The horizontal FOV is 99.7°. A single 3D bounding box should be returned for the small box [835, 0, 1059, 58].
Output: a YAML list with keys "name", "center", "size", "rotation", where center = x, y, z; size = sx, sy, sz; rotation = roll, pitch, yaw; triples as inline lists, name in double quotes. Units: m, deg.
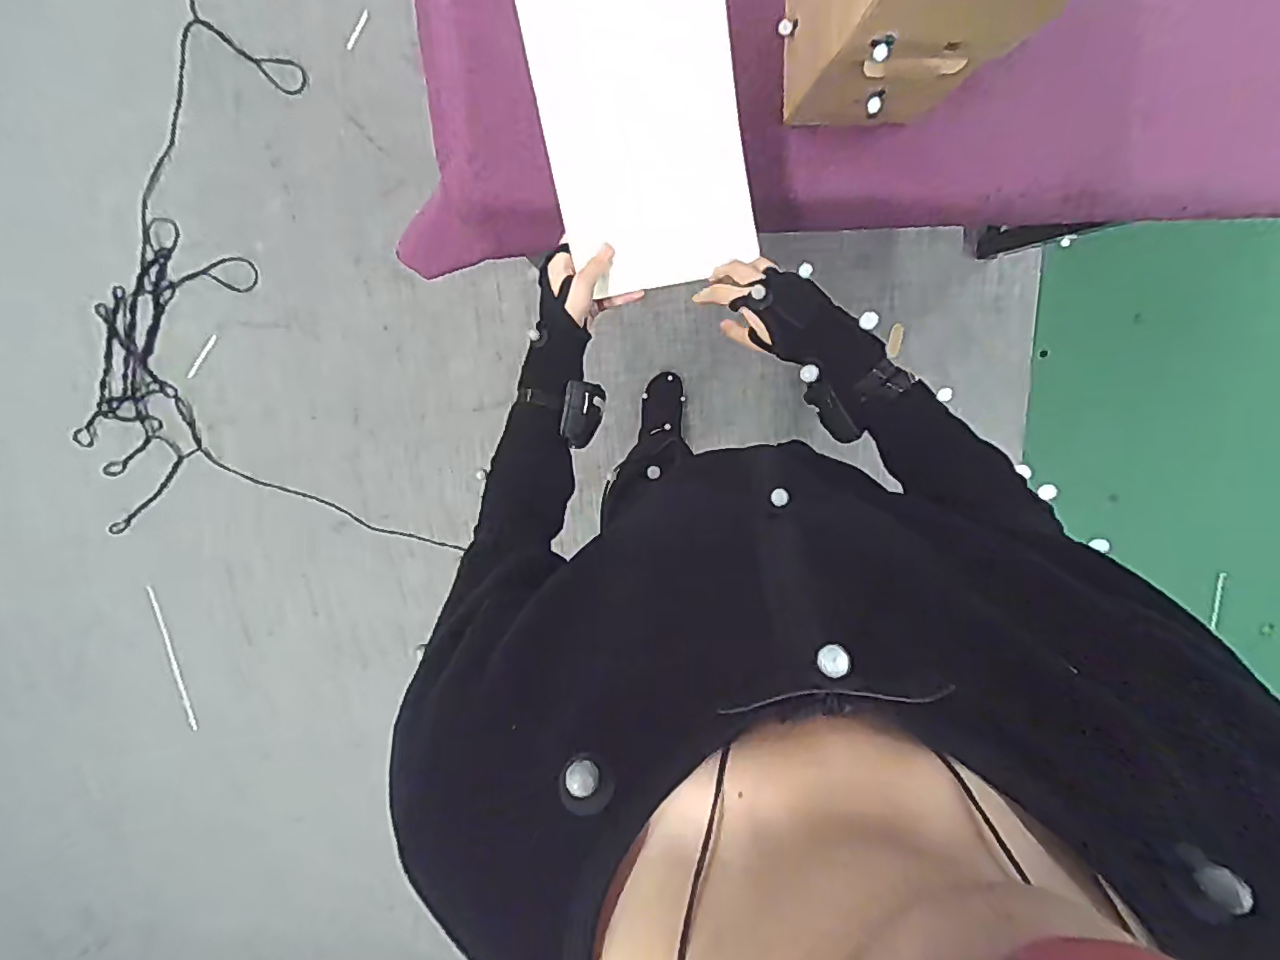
- name: "small box"
  center: [0.265, -0.469, 0.425]
  size: [0.168, 0.176, 0.179]
  rotation: [-2, 101, -1]

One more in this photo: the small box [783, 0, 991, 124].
- name: "small box"
  center: [0.260, -0.510, 0.586]
  size: [0.168, 0.176, 0.179]
  rotation: [-3, 103, -1]
